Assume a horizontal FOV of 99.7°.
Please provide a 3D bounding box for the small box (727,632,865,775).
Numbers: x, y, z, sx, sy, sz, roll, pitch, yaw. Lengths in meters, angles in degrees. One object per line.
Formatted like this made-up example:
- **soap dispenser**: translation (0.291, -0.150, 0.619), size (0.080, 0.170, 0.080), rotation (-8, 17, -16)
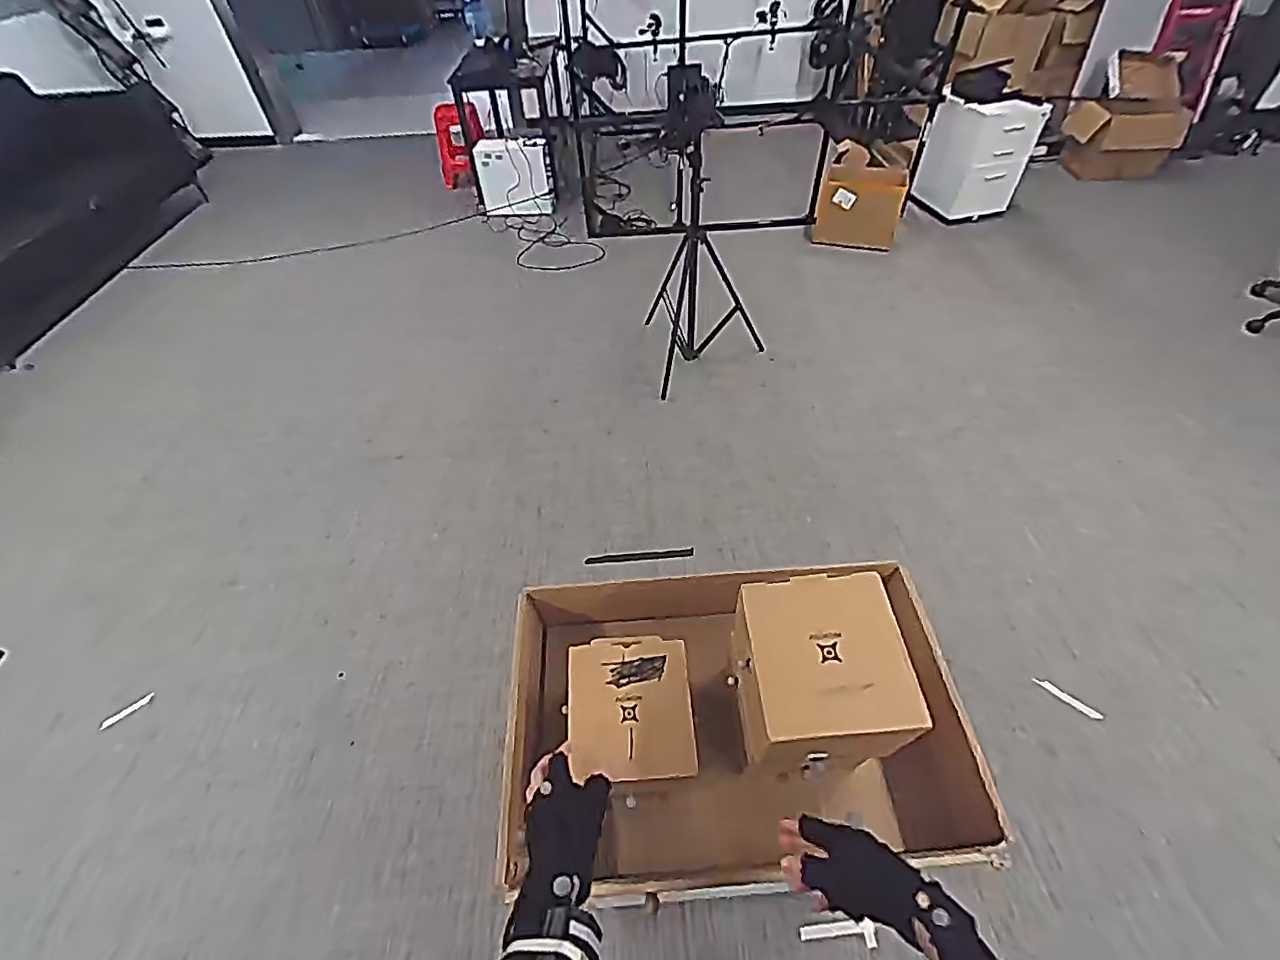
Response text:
- **small box**: translation (0.230, 0.324, 0.792), size (0.179, 0.176, 0.168), rotation (-5, 53, 1)

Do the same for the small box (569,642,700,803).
- **small box**: translation (-0.010, 0.351, 0.780), size (0.168, 0.176, 0.179), rotation (-4, 54, -1)

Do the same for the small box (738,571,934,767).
- **small box**: translation (0.216, 0.232, 0.657), size (0.168, 0.176, 0.179), rotation (-7, 54, 2)
